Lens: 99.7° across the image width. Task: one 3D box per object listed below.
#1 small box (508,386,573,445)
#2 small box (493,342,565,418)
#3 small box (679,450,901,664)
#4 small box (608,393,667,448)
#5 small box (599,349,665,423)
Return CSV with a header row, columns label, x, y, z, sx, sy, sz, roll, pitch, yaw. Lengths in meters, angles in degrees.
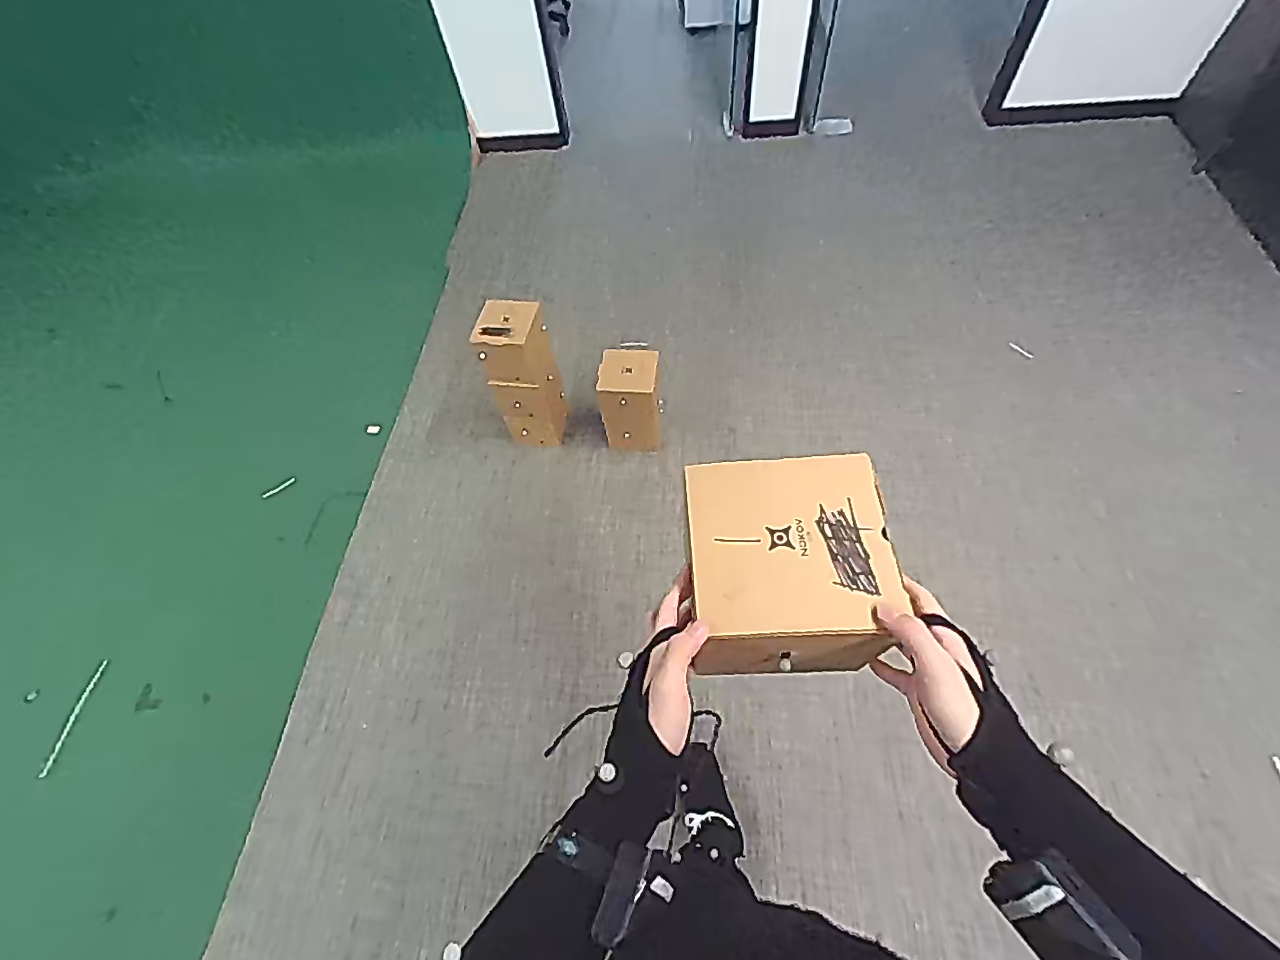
label,x,y,z,sx,sy,sz,roll,pitch,yaw
small box,-0.343,-0.239,1.905,0.168,0.176,0.179,5,60,9
small box,-0.352,-0.322,1.762,0.168,0.176,0.179,6,60,9
small box,0.130,0.085,0.549,0.179,0.176,0.168,-4,60,3
small box,-0.003,-0.221,1.857,0.179,0.176,0.168,2,60,8
small box,-0.019,-0.294,1.711,0.179,0.176,0.168,4,61,8
